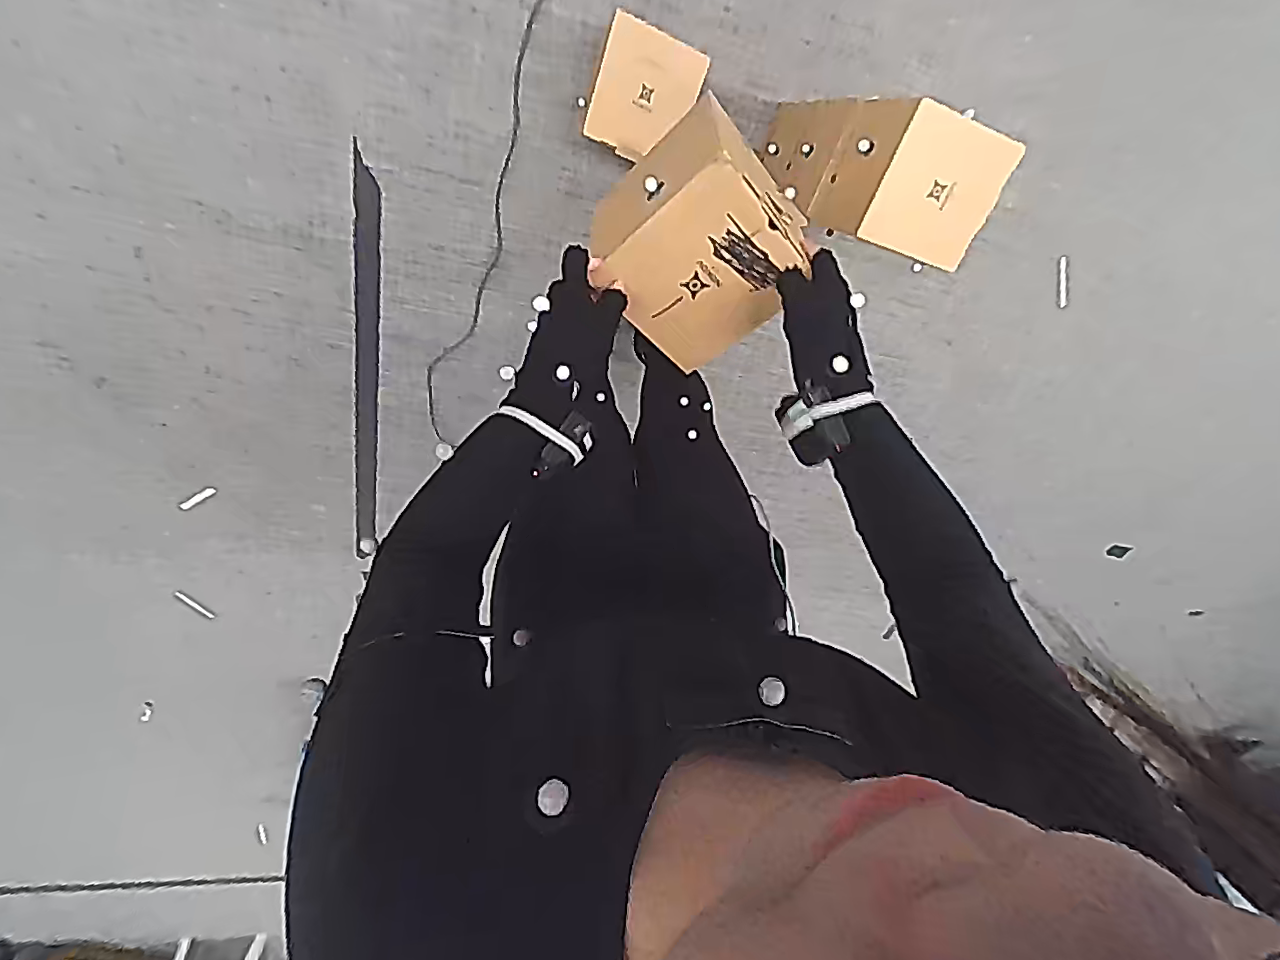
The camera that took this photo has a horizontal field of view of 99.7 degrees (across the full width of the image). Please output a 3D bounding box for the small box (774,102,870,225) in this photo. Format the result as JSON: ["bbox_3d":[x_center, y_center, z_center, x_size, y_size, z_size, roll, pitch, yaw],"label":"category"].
[{"bbox_3d":[0.354,-0.510,0.915,0.179,0.176,0.168,12,121,-19],"label":"small box"}]

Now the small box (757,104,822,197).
[{"bbox_3d":[0.340,-0.603,1.051,0.179,0.176,0.168,11,122,-17],"label":"small box"}]

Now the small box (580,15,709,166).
[{"bbox_3d":[-0.003,-0.663,0.951,0.168,0.176,0.179,13,120,-19],"label":"small box"}]

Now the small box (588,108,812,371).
[{"bbox_3d":[0.061,-0.266,0.605,0.179,0.176,0.168,-32,130,32],"label":"small box"}]

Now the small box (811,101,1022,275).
[{"bbox_3d":[0.381,-0.419,0.782,0.179,0.176,0.168,10,121,-18],"label":"small box"}]
